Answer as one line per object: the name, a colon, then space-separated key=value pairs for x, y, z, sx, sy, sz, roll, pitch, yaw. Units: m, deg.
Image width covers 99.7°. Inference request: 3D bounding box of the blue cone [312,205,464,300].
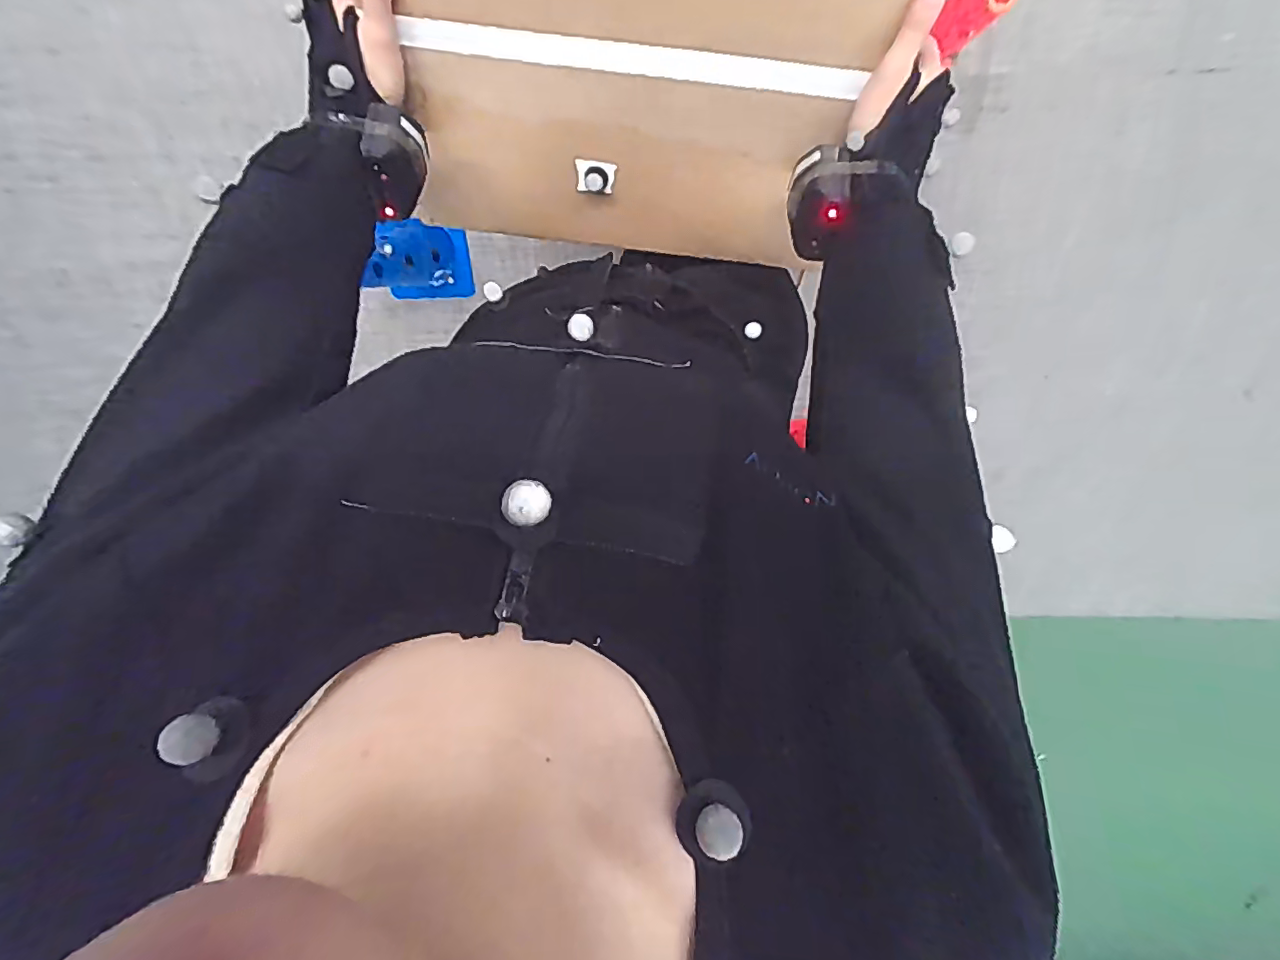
blue cone: x=-0.498 y=-0.421 z=1.047 sx=0.192 sy=0.380 sz=0.193 roll=1 pitch=118 yaw=3
